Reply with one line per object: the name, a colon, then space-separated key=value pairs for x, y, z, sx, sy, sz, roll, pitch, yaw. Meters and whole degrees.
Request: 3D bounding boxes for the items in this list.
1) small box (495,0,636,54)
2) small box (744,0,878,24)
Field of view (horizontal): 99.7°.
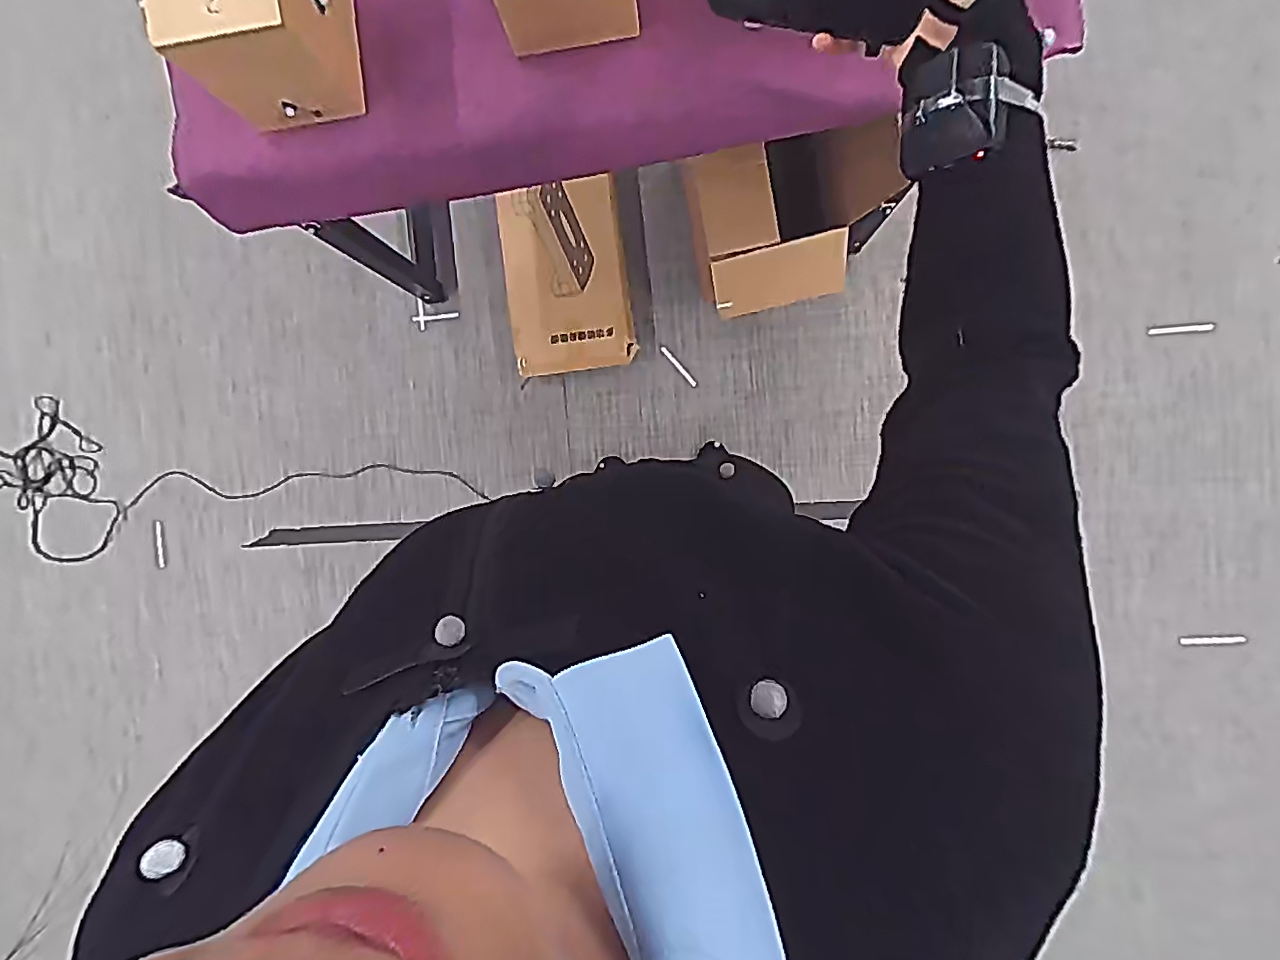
small box: x=-0.100 y=-0.672 z=0.658 sx=0.179 sy=0.176 sz=0.168 roll=-6 pitch=89 yaw=5
small box: x=0.218 y=-0.682 z=0.634 sx=0.179 sy=0.176 sz=0.168 roll=1 pitch=92 yaw=4
